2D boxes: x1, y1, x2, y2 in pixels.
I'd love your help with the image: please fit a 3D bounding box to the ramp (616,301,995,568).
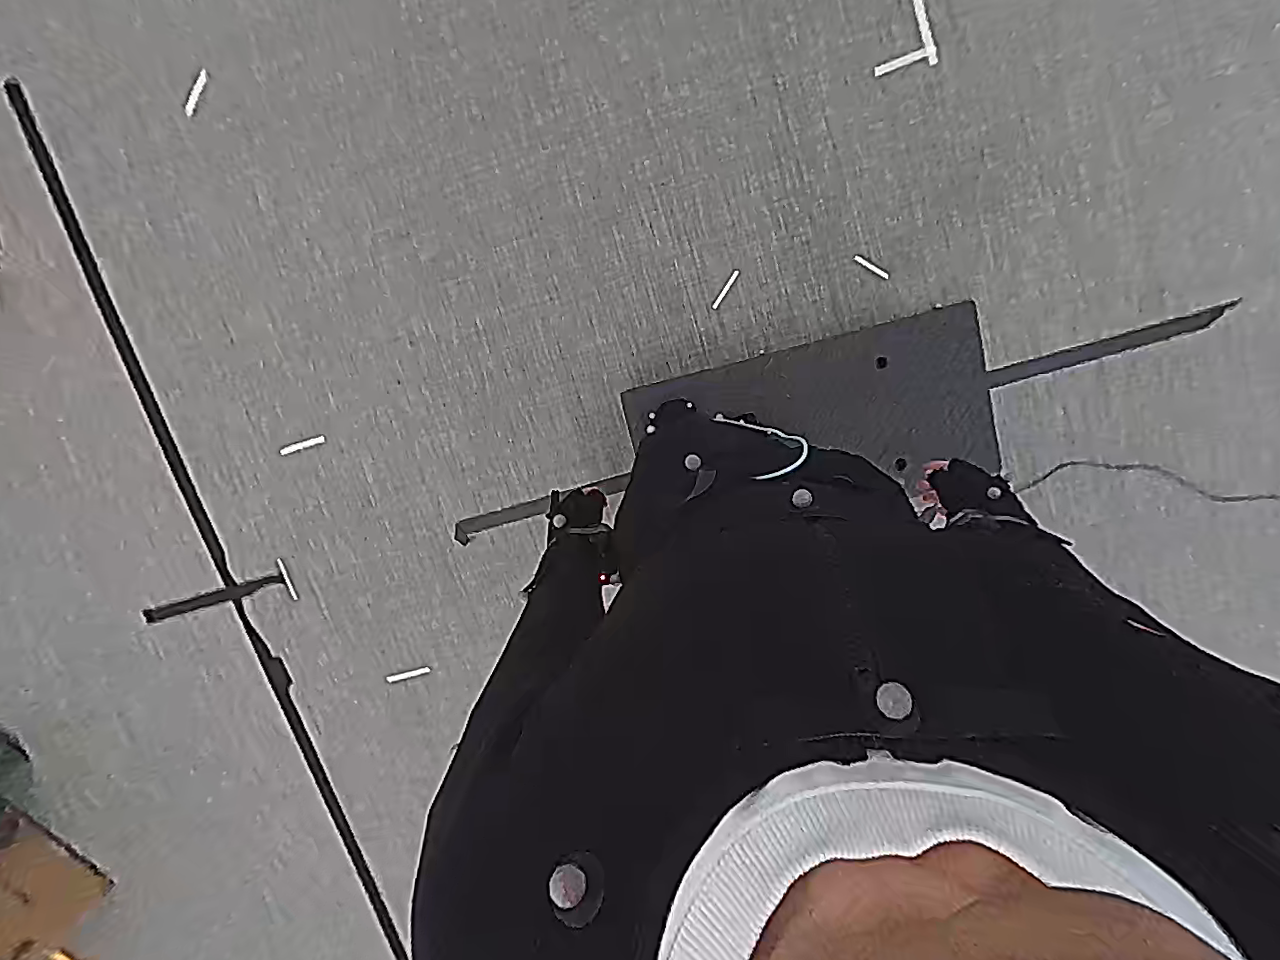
[{"bbox_3d":[0.471,-0.130,1.471,0.991,0.206,0.509,-16,97,5],"label":"ramp"}]
